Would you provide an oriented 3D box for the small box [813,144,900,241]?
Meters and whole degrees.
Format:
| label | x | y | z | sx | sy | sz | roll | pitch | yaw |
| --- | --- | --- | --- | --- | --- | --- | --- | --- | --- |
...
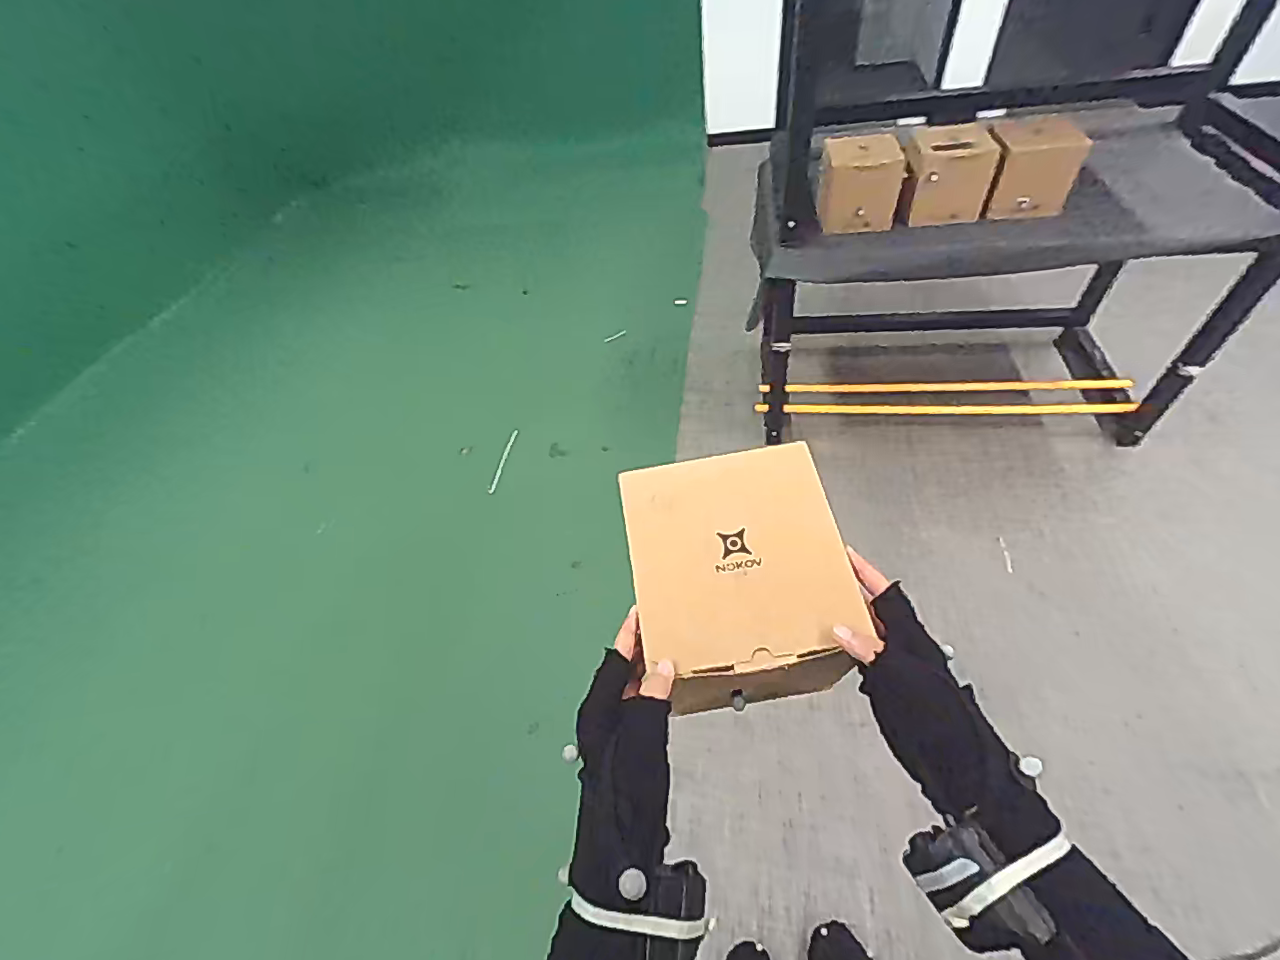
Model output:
| label | x | y | z | sx | sy | sz | roll | pitch | yaw |
| --- | --- | --- | --- | --- | --- | --- | --- | --- | --- |
| small box | 0.550 | -0.741 | 1.399 | 0.168 | 0.176 | 0.179 | 0 | 50 | 9 |
